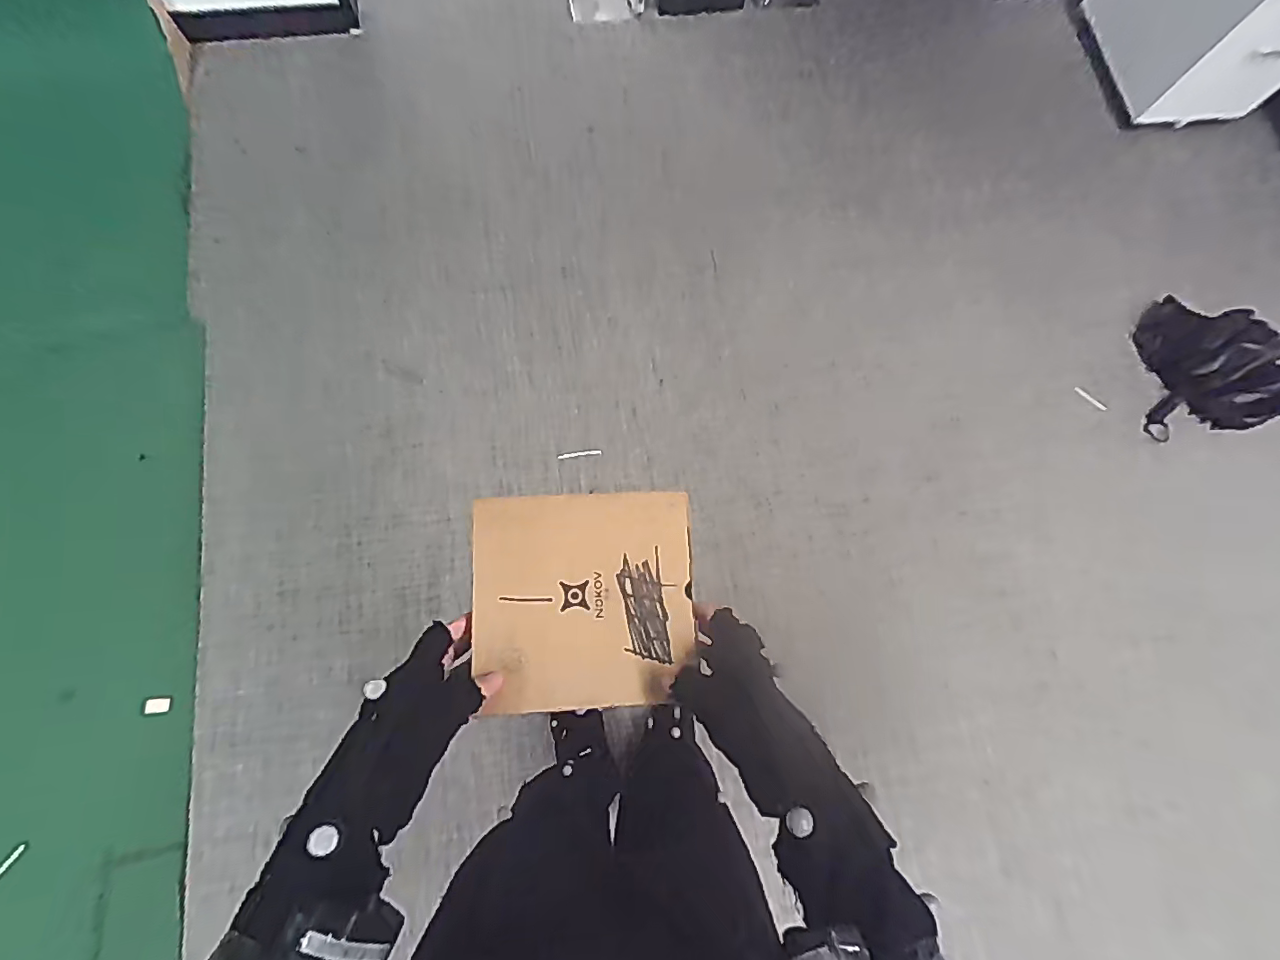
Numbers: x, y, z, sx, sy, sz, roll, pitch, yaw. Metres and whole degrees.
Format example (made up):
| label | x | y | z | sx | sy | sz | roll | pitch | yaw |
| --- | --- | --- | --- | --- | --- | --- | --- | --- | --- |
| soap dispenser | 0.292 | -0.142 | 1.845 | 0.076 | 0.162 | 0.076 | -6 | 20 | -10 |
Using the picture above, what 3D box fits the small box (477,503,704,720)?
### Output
| label | x | y | z | sx | sy | sz | roll | pitch | yaw |
| --- | --- | --- | --- | --- | --- | --- | --- | --- | --- |
| small box | -0.046 | 0.118 | 0.508 | 0.179 | 0.176 | 0.168 | -2 | 76 | -5 |
